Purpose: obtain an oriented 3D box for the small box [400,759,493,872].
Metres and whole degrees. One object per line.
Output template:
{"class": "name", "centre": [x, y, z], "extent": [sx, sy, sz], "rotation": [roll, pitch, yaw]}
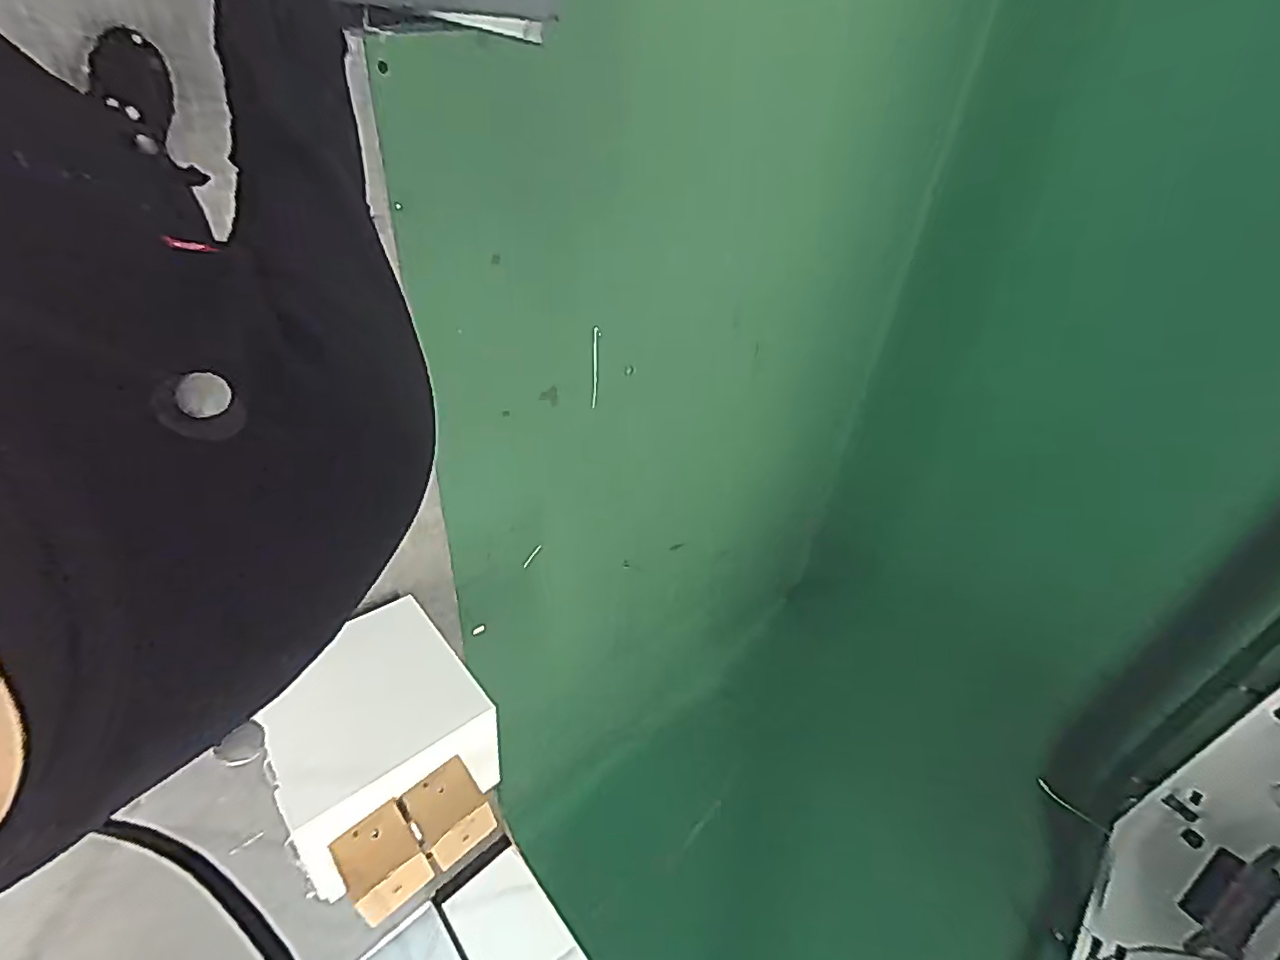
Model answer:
{"class": "small box", "centre": [-0.523, 0.902, 1.468], "extent": [0.168, 0.176, 0.179], "rotation": [-29, 137, -33]}
